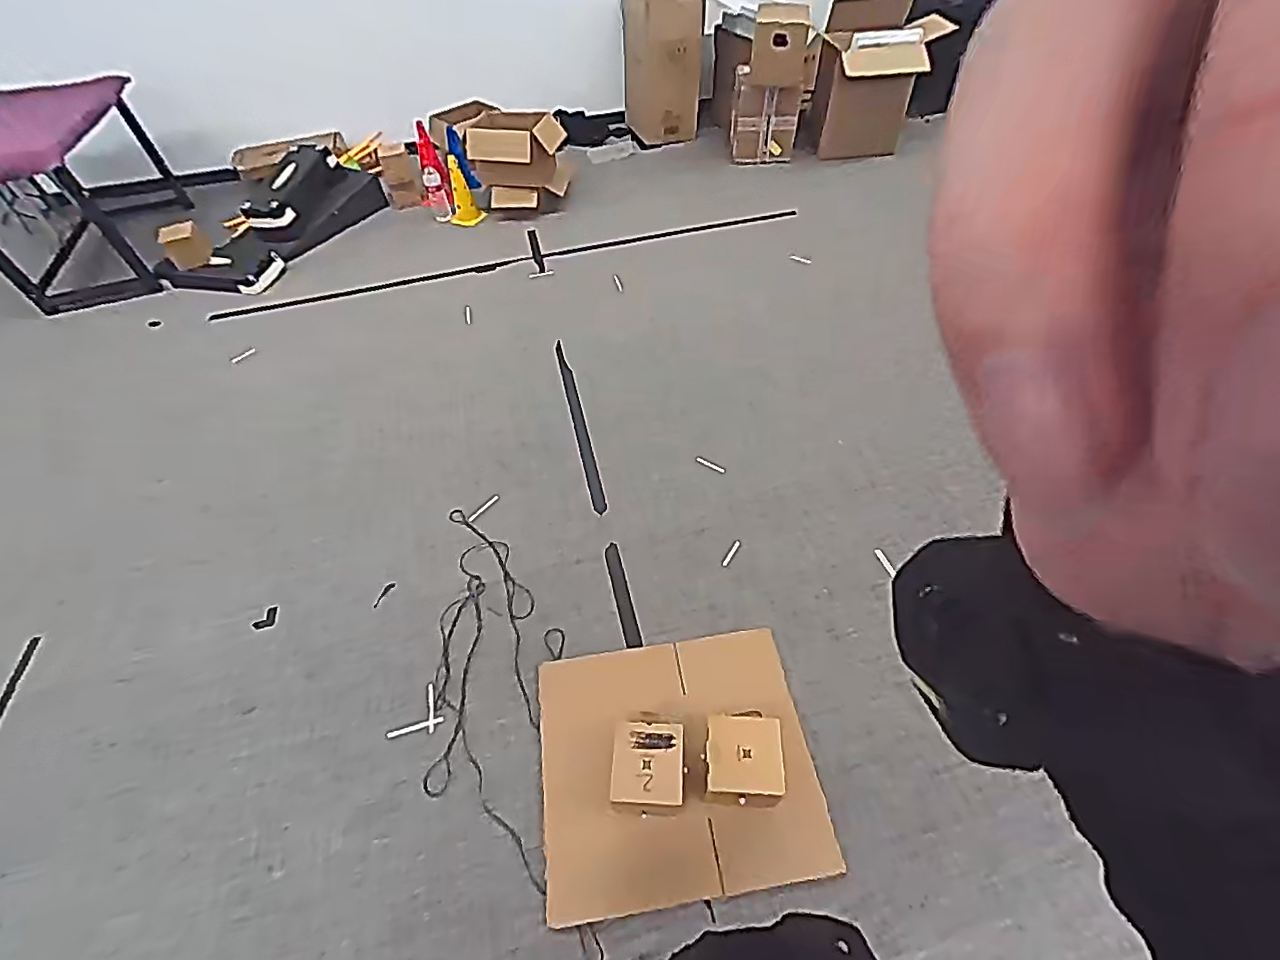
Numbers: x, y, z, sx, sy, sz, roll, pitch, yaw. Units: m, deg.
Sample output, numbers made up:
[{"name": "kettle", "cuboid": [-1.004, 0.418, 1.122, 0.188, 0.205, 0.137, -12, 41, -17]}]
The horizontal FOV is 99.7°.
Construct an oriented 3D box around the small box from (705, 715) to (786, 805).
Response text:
[{"name": "small box", "cuboid": [0.253, 0.697, 1.341, 0.179, 0.176, 0.168, 1, 51, 5]}]
